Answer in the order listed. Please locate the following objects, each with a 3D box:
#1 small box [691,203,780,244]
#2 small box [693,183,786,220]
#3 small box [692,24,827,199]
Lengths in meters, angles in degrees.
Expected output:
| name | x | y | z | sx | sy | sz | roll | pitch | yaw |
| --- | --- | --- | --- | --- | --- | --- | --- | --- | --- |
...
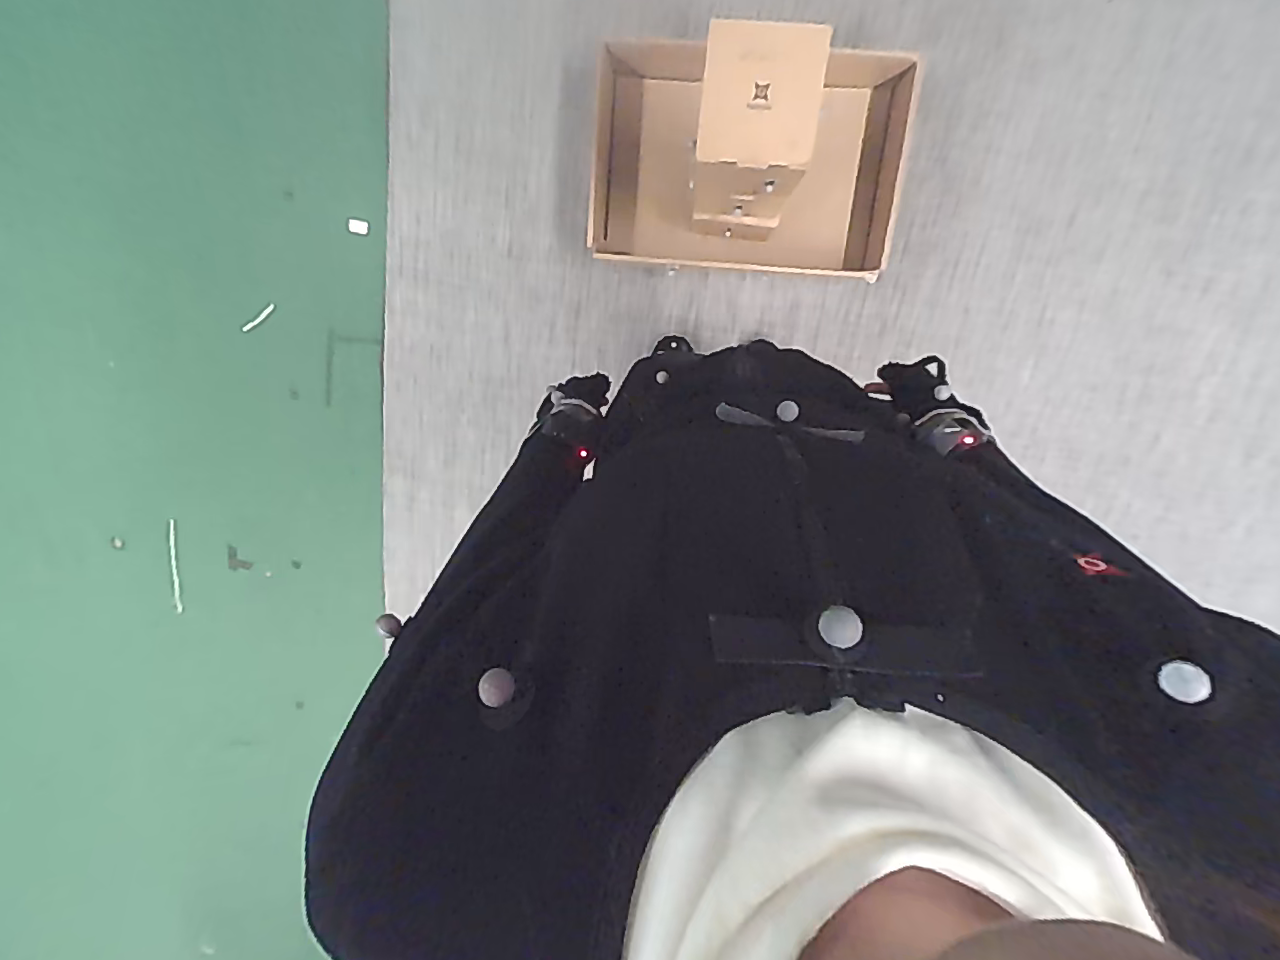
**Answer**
| name | x | y | z | sx | sy | sz | roll | pitch | yaw |
| --- | --- | --- | --- | --- | --- | --- | --- | --- | --- |
| small box | 0.209 | -0.617 | 1.164 | 0.179 | 0.176 | 0.168 | 9 | 104 | 4 |
| small box | 0.189 | -0.594 | 1.006 | 0.168 | 0.176 | 0.179 | 4 | 104 | 5 |
| small box | 0.172 | -0.548 | 0.831 | 0.168 | 0.176 | 0.179 | 6 | 104 | 3 |
